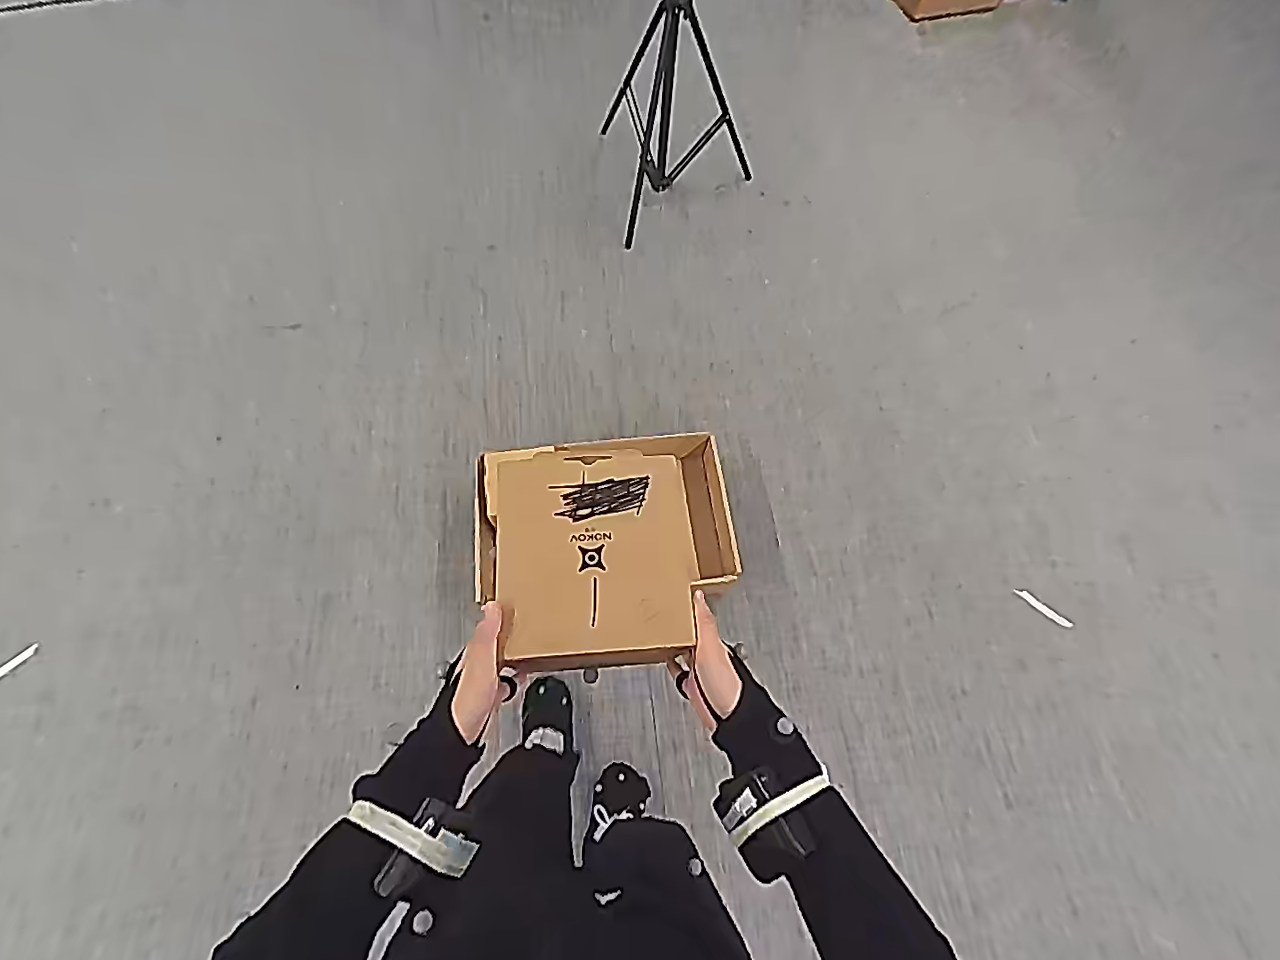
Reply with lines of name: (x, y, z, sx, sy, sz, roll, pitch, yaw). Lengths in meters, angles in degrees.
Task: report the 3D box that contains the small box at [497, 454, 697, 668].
small box: (-0.045, 0.087, 0.544, 0.168, 0.176, 0.179, -2, 68, -6)
